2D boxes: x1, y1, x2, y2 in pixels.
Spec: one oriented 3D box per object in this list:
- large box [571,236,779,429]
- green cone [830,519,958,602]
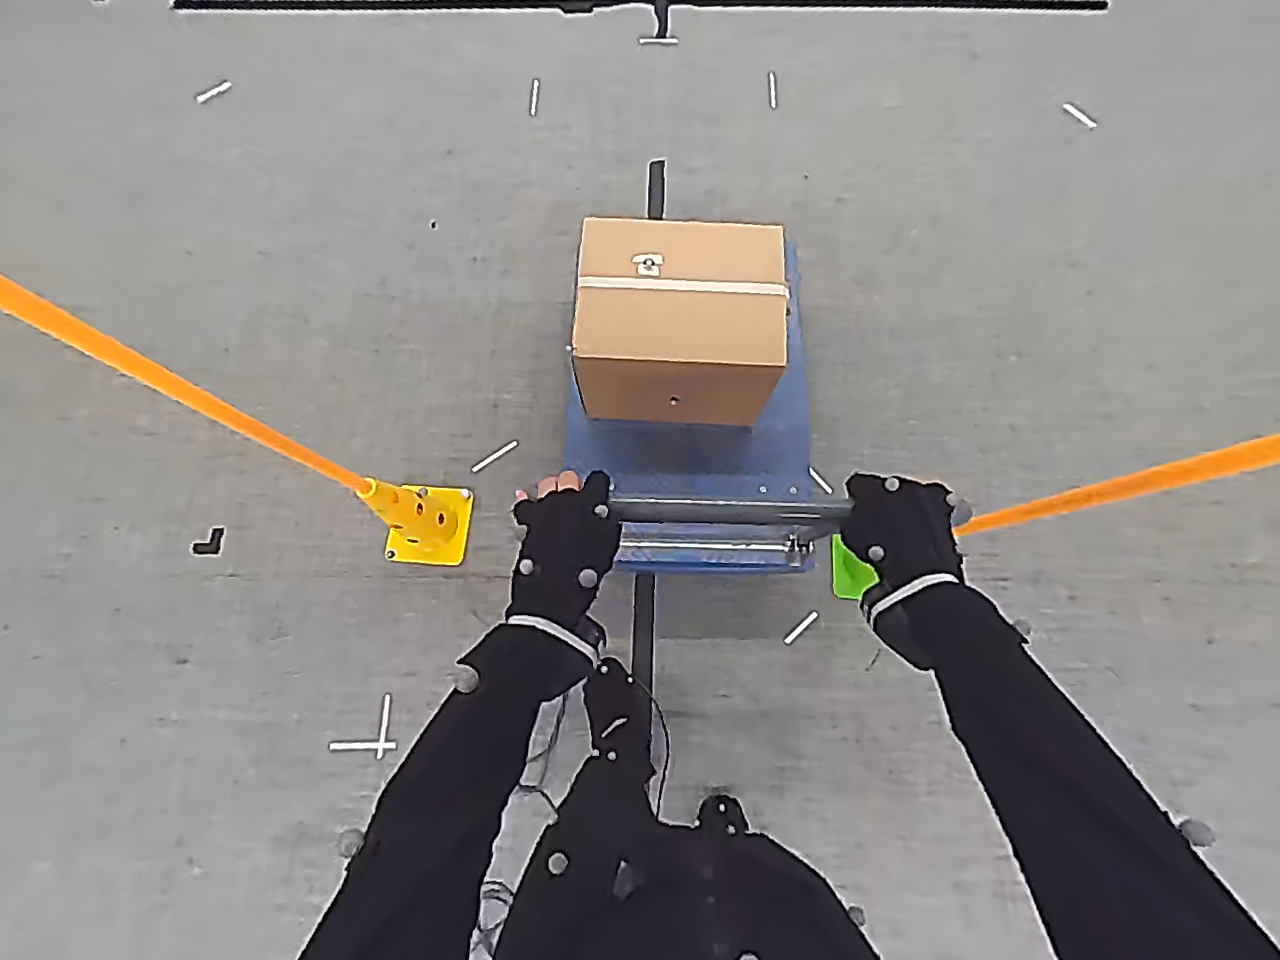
[{"bbox_3d":[0.075,-0.310,1.207,0.408,0.320,0.320,2,74,2],"label":"large box"},{"bbox_3d":[0.587,0.156,1.212,0.202,0.368,0.200,5,74,1],"label":"green cone"}]
